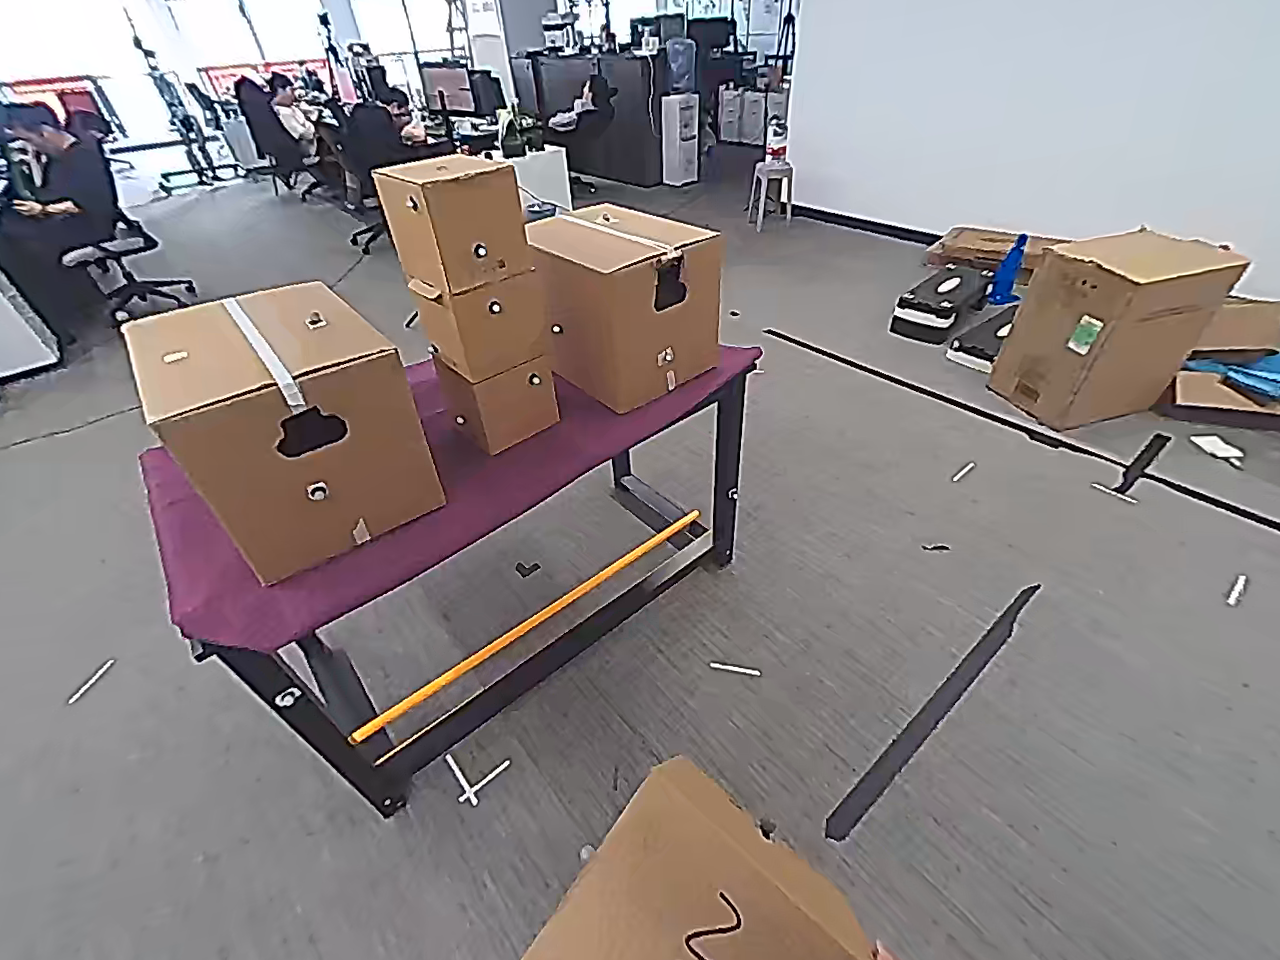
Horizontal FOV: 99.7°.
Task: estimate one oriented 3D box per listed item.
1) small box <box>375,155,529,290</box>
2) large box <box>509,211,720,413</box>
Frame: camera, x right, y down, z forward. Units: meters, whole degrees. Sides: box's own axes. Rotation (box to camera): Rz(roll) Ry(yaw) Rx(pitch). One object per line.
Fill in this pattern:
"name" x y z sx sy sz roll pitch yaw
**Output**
"small box" -0.314 -0.440 0.922 0.179 0.176 0.168 32 51 34
"large box" -0.060 -0.407 1.266 0.320 0.320 0.408 -30 45 -29
